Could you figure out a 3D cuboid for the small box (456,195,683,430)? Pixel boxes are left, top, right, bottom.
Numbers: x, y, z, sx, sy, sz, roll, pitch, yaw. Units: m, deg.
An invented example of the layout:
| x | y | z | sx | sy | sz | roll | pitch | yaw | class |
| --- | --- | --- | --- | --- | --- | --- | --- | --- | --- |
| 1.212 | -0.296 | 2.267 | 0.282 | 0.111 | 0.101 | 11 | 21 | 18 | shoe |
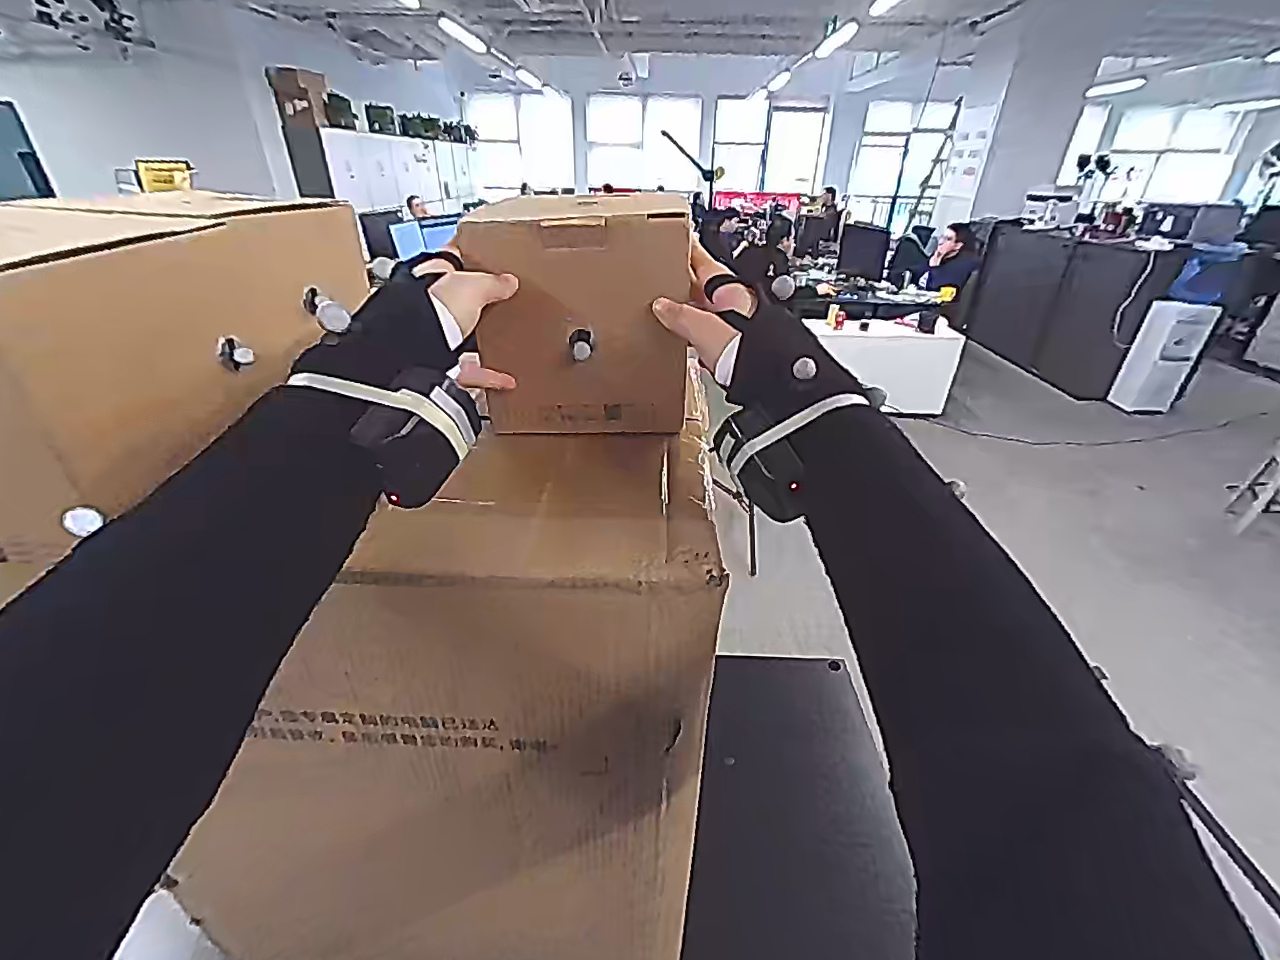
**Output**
| x | y | z | sx | sy | sz | roll | pitch | yaw | class |
| --- | --- | --- | --- | --- | --- | --- | --- | --- | --- |
| -0.047 | -0.154 | 0.491 | 0.168 | 0.176 | 0.179 | 0 | 32 | 0 | small box |
